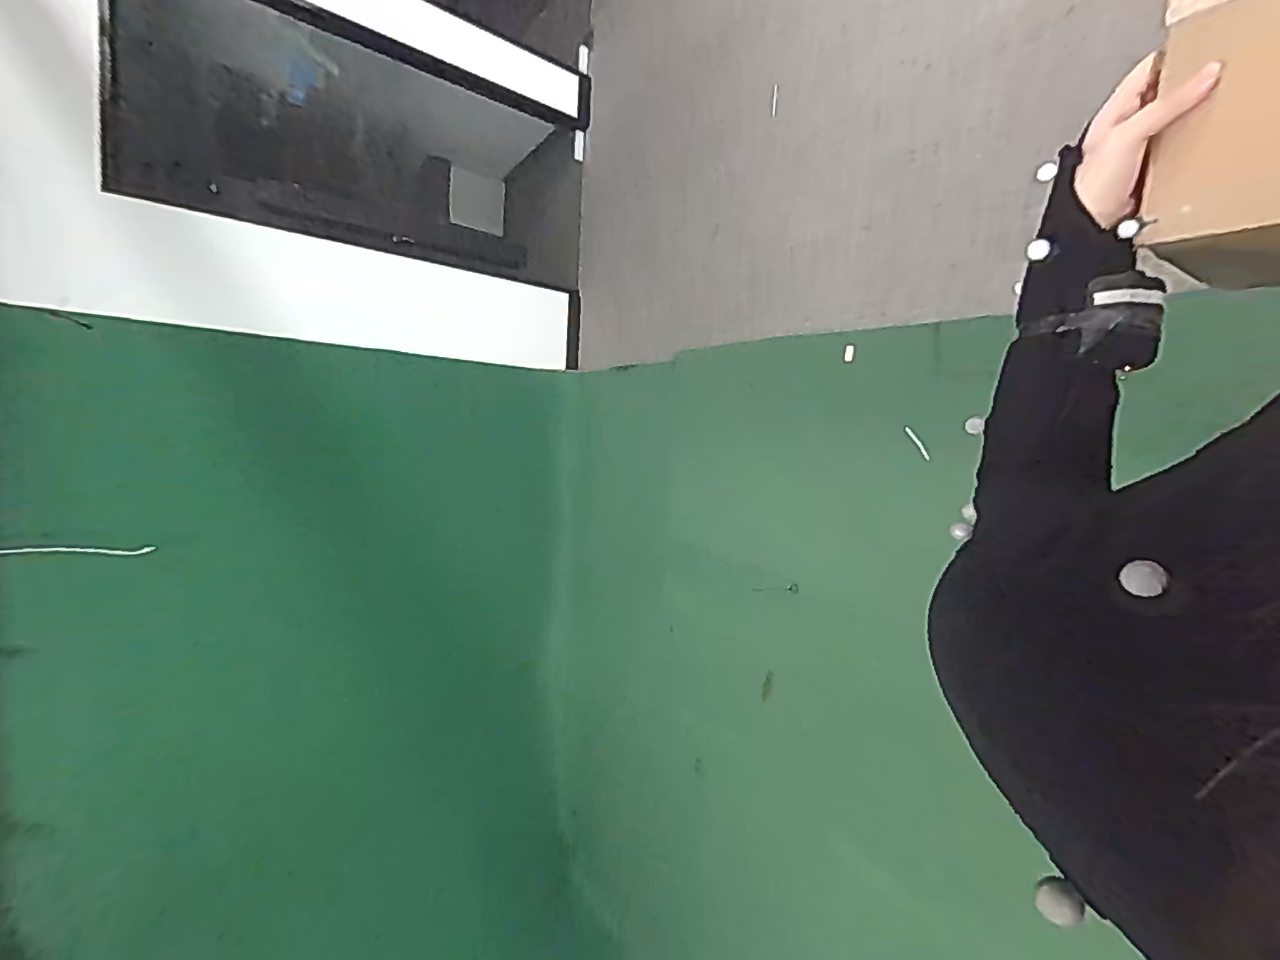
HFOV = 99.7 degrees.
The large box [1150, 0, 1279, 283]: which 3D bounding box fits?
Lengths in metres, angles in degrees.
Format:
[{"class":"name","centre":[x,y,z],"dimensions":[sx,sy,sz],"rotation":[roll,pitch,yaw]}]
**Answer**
[{"class":"large box","centre":[0.626,-0.318,0.312],"dimensions":[0.408,0.320,0.320],"rotation":[13,105,55]}]
